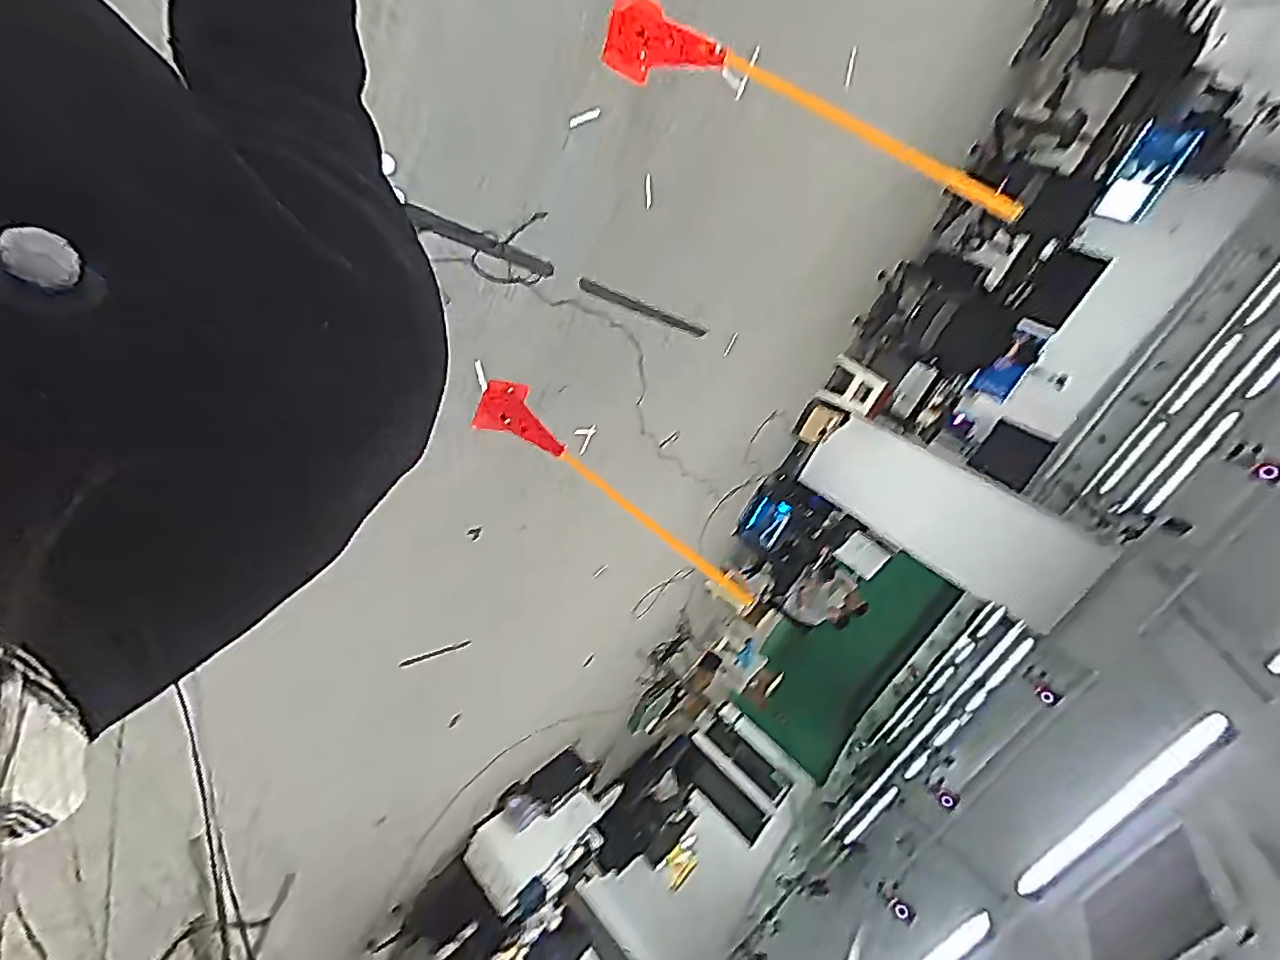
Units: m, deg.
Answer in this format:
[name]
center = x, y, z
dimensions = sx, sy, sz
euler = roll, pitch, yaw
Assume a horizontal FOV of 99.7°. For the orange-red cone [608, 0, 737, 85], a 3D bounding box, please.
[orange-red cone]
center = 0.114, -1.193, 1.486
dimensions = 0.198, 0.360, 0.199
euler = -17, 135, -50
